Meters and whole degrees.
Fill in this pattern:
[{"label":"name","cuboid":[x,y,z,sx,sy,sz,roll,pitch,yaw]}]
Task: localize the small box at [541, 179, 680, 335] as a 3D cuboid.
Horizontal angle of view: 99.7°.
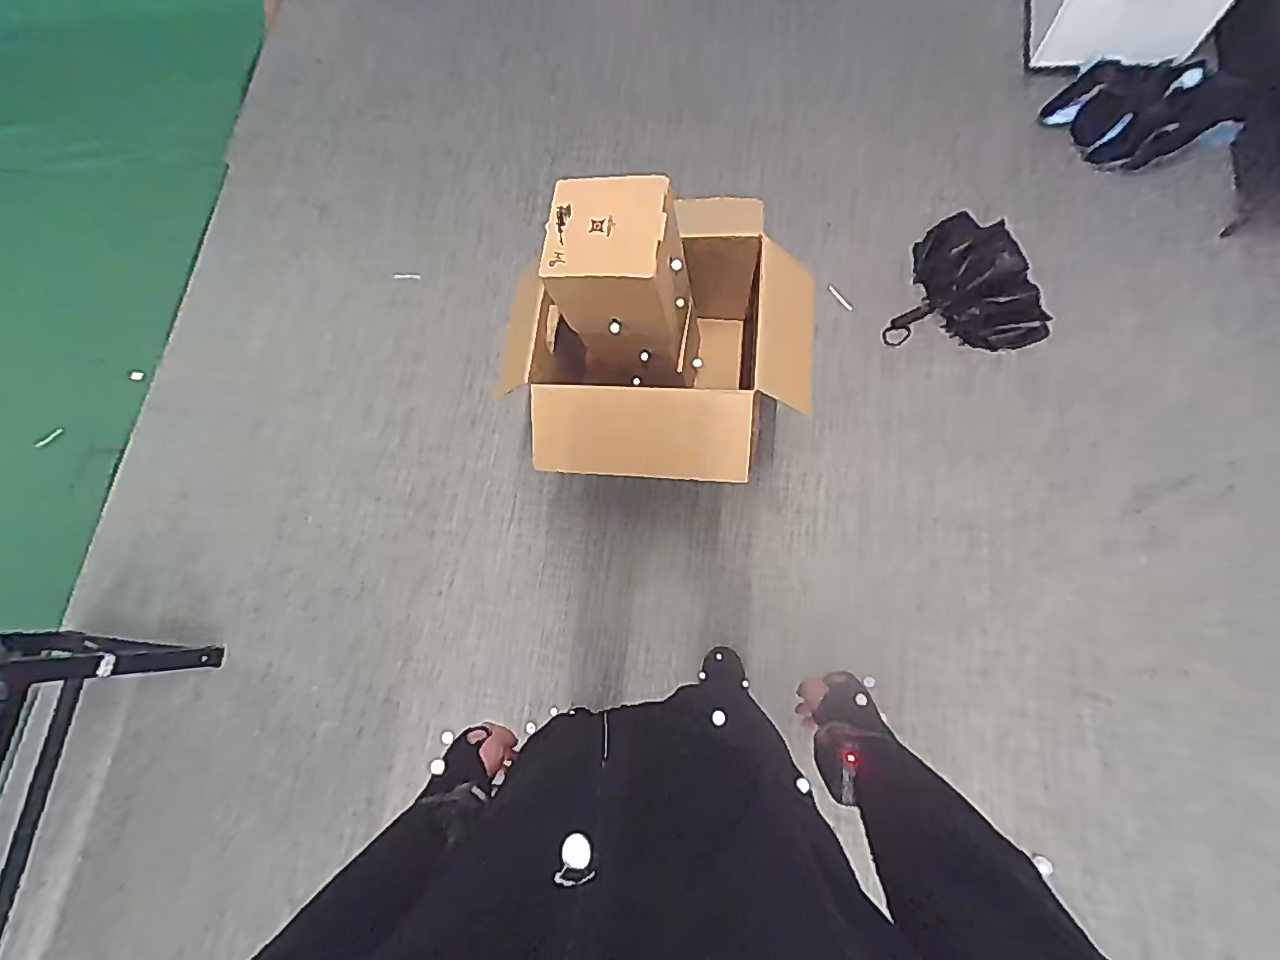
[{"label":"small box","cuboid":[-0.035,-0.345,0.859,0.179,0.176,0.168,6,78,12]}]
